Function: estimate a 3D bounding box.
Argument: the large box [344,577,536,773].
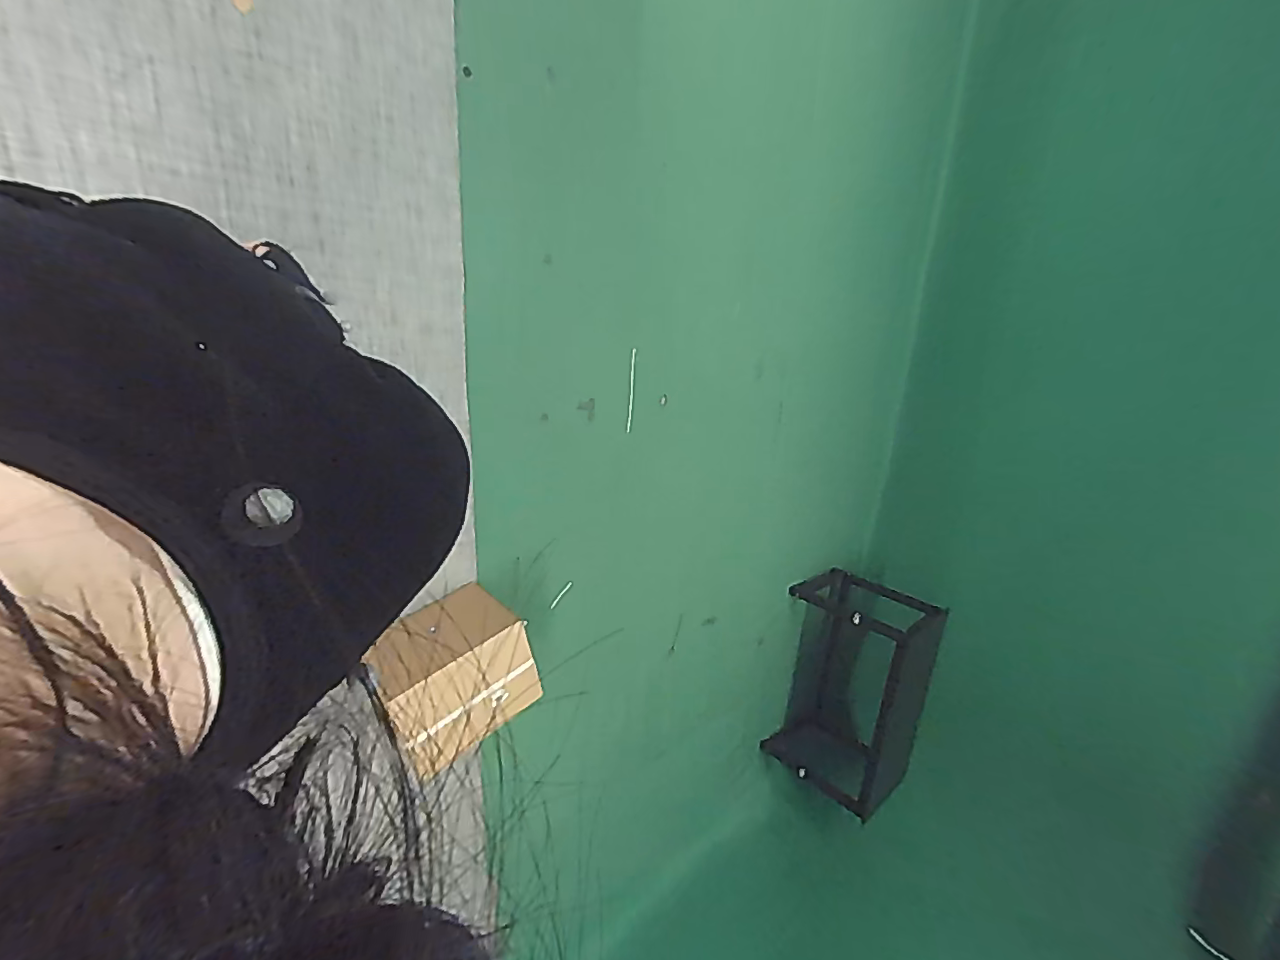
[{"bbox_3d":[-0.591,0.560,1.631,0.408,0.320,0.320,-29,124,-36],"label":"large box"}]
